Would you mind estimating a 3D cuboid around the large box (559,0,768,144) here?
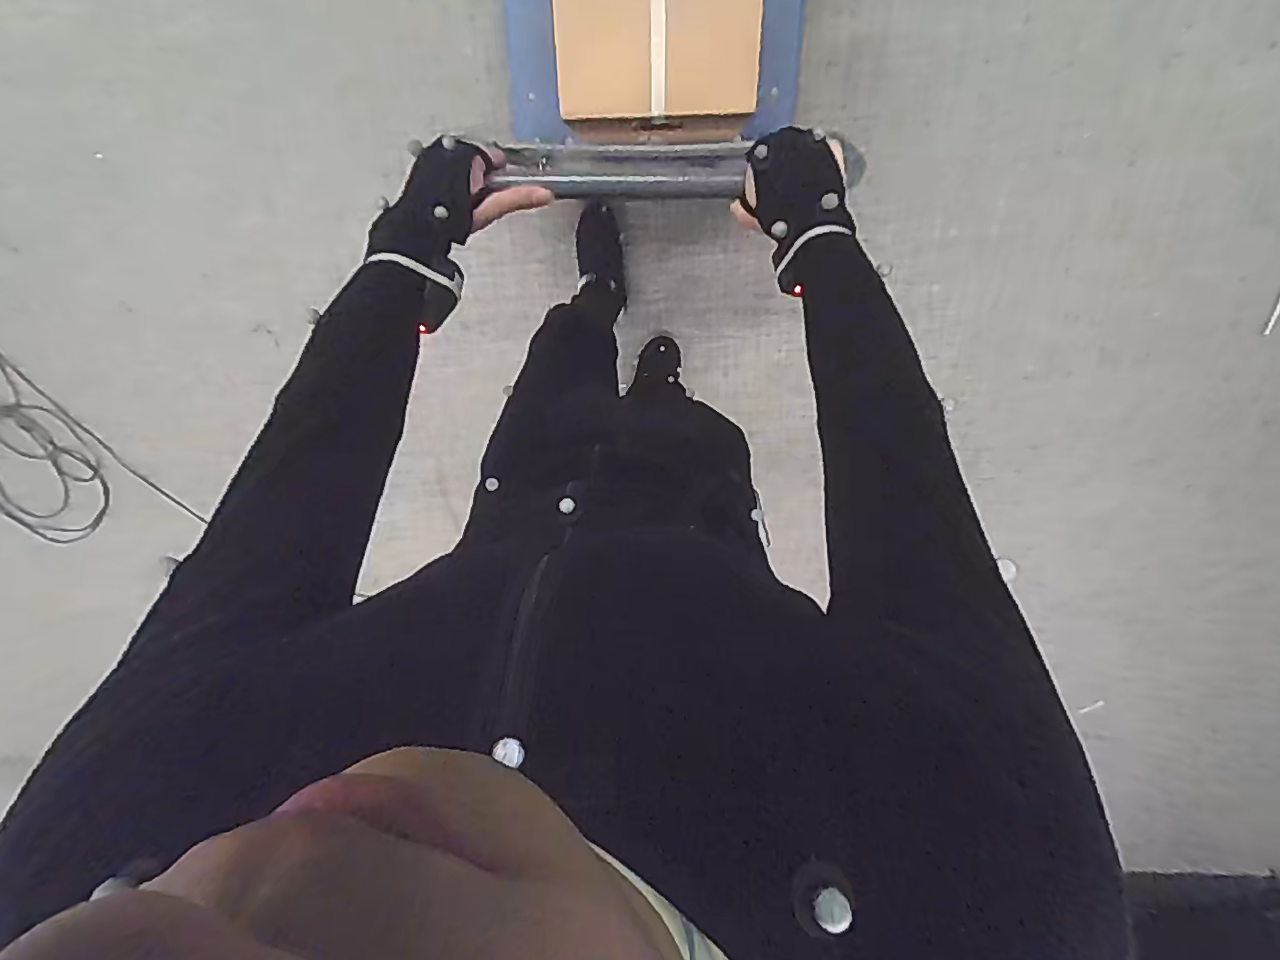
[{"bbox_3d":[0.042,-0.824,0.909,0.320,0.320,0.408,1,115,3],"label":"large box"}]
